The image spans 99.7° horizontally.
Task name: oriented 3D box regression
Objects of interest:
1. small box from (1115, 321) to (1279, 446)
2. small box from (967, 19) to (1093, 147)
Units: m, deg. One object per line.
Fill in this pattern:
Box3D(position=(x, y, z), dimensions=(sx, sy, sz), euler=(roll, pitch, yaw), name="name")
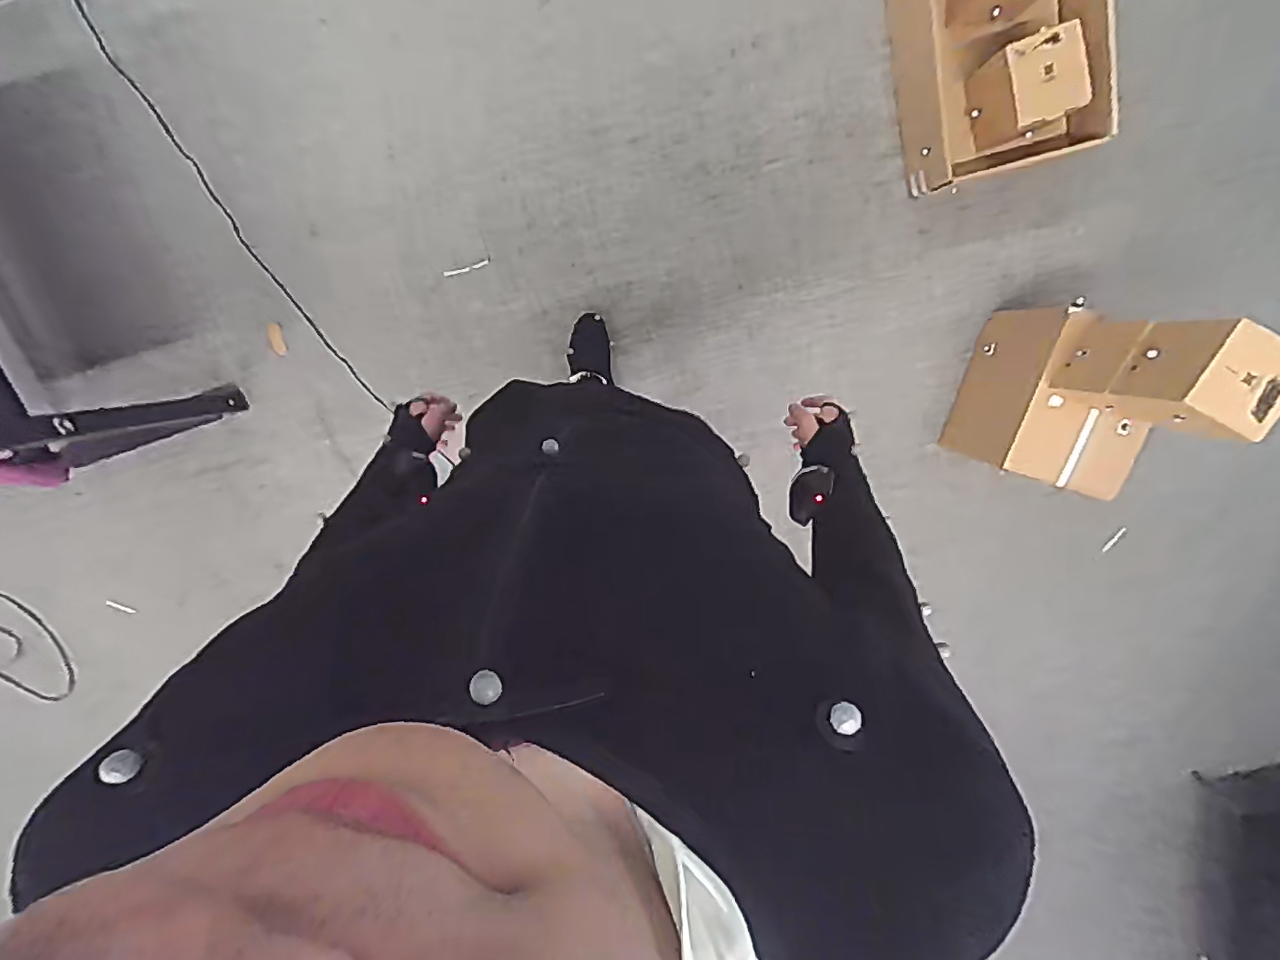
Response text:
Box3D(position=(1.080, -0.186, 1.022), dimensions=(0.179, 0.176, 0.168), euler=(25, 103, -4), name="small box")
Box3D(position=(0.912, -0.918, 1.276), dimensions=(0.168, 0.176, 0.179), euler=(-19, 104, 5), name="small box")
